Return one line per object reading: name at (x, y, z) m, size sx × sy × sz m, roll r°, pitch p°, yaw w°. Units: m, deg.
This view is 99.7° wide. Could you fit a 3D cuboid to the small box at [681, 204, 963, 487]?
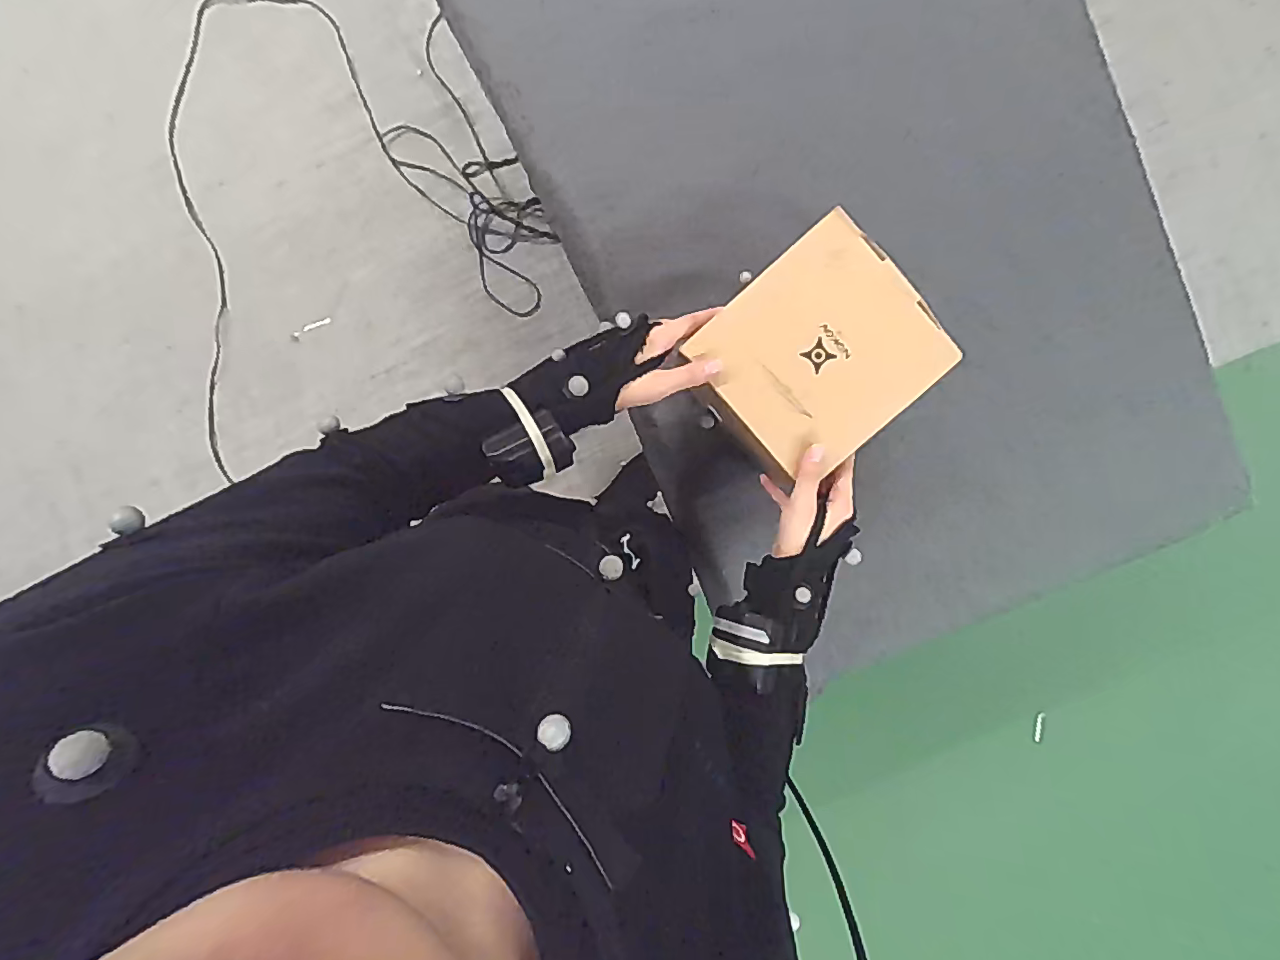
small box at (0.154, -0.119, 0.529) m, size 0.179 × 0.176 × 0.168 m, roll -43°, pitch 94°, yaw 6°
